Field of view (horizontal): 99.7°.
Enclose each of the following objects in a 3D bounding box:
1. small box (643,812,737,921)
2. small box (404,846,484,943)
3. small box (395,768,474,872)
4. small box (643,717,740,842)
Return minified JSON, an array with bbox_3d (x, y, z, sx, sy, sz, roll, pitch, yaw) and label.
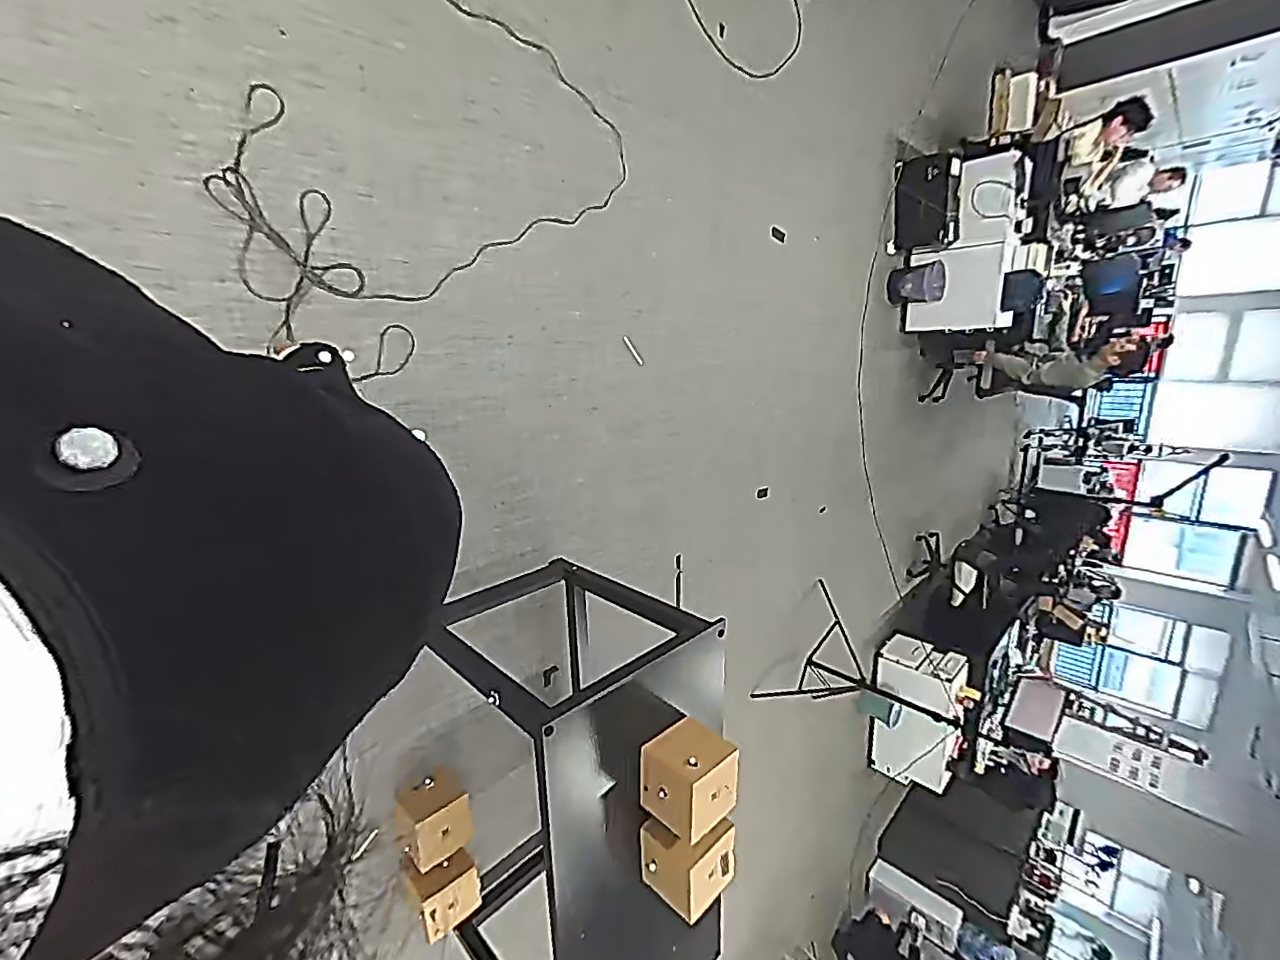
[{"bbox_3d":[0.126,0.934,1.365,0.179,0.176,0.168,-15,109,-42],"label":"small box"},{"bbox_3d":[-0.627,1.296,1.726,0.179,0.176,0.168,-16,109,-43],"label":"small box"},{"bbox_3d":[-0.634,1.039,1.668,0.168,0.176,0.179,-16,109,-43],"label":"small box"},{"bbox_3d":[0.123,0.715,1.315,0.179,0.176,0.168,-11,107,-44],"label":"small box"}]
